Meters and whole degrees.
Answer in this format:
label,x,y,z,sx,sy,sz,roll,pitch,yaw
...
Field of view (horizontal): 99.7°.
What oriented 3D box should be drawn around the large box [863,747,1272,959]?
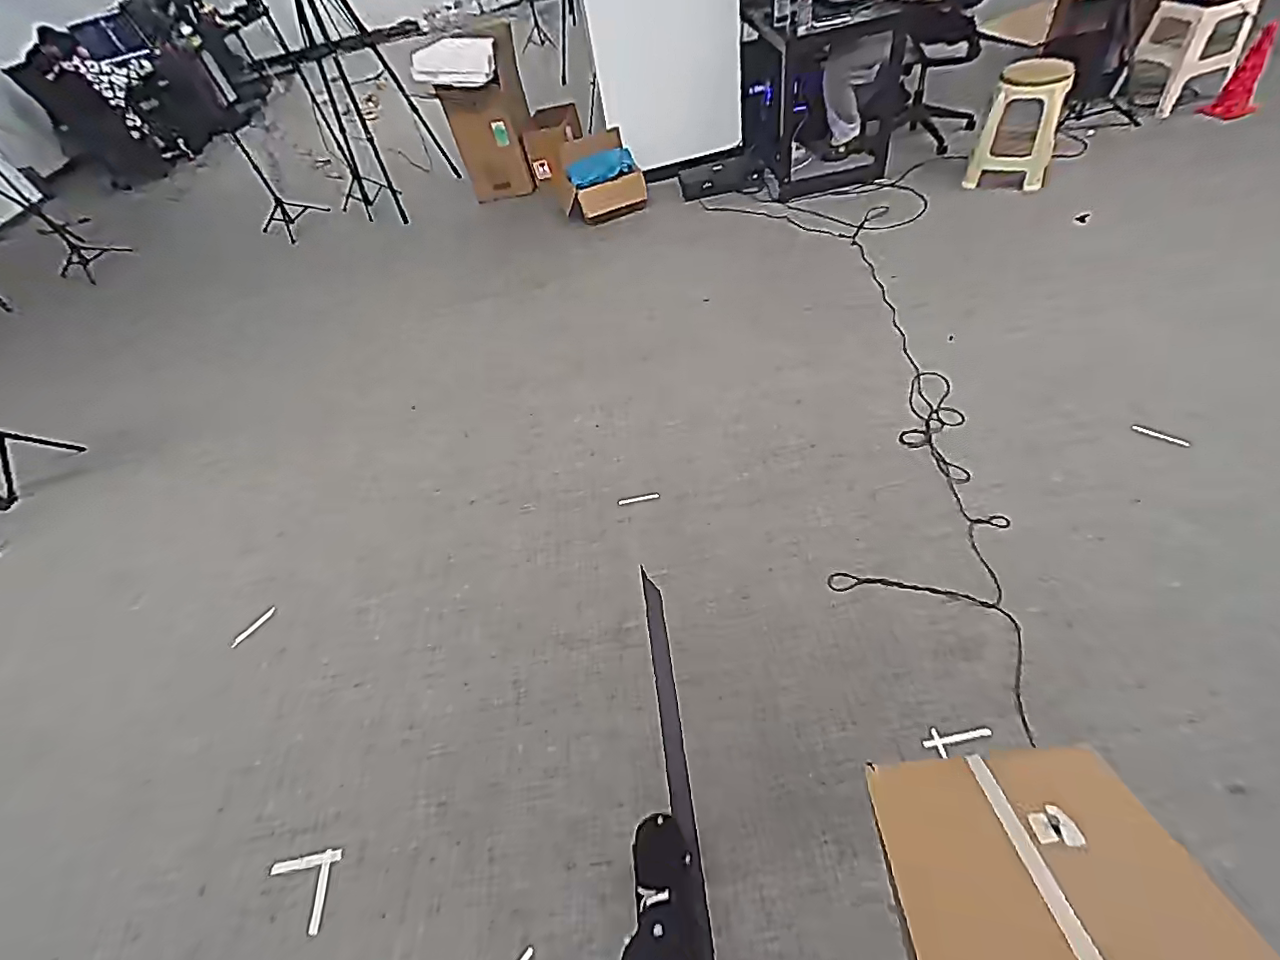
label,x,y,z,sx,sy,sz,roll,pitch,yaw
large box,0.502,0.606,0.650,0.320,0.320,0.408,-13,10,13
